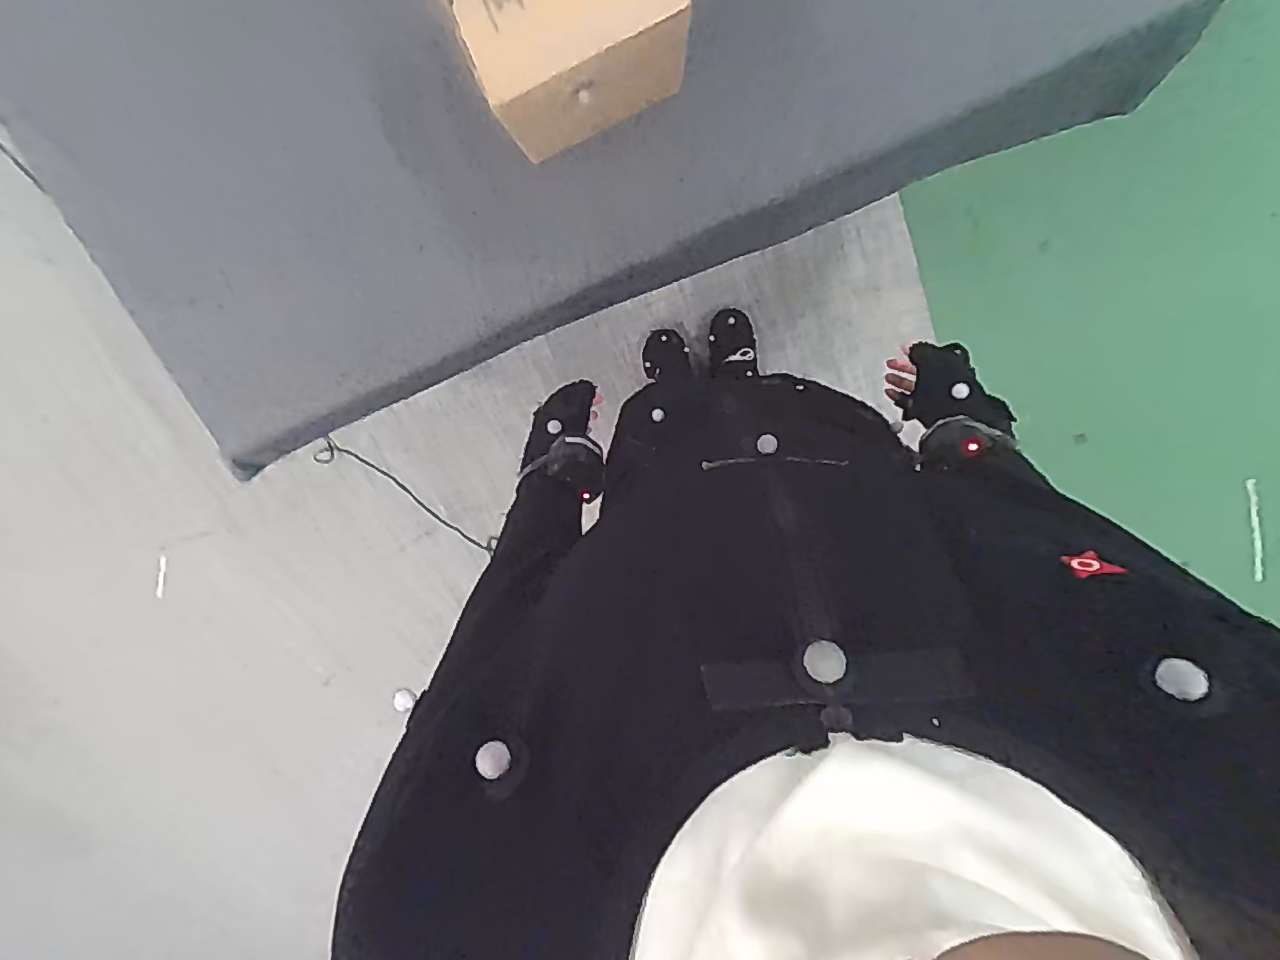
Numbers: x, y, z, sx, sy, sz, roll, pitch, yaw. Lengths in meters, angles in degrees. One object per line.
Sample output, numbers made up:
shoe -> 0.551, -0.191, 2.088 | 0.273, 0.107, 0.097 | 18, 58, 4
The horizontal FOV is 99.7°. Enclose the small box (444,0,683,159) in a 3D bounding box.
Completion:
small box -> -0.071, -0.429, 0.492 | 0.179, 0.176, 0.168 | -22, 104, 7
